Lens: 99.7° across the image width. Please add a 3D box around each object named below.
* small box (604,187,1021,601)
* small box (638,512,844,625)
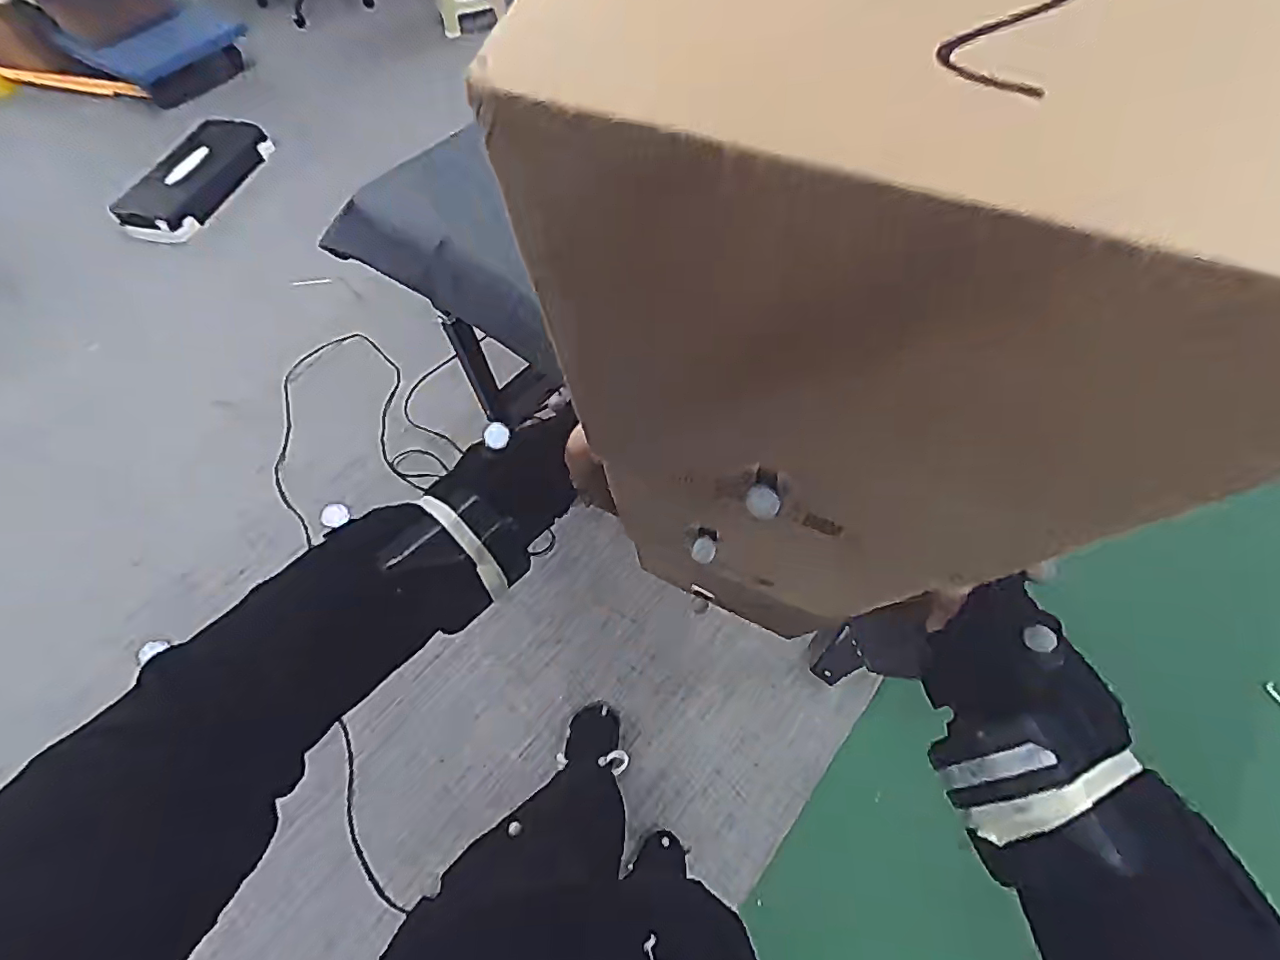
[{"bbox_3d":[0.095,-0.038,0.345,0.168,0.176,0.179,21,72,11],"label":"small box"},{"bbox_3d":[0.109,0.016,0.497,0.168,0.176,0.179,23,73,11],"label":"small box"}]
